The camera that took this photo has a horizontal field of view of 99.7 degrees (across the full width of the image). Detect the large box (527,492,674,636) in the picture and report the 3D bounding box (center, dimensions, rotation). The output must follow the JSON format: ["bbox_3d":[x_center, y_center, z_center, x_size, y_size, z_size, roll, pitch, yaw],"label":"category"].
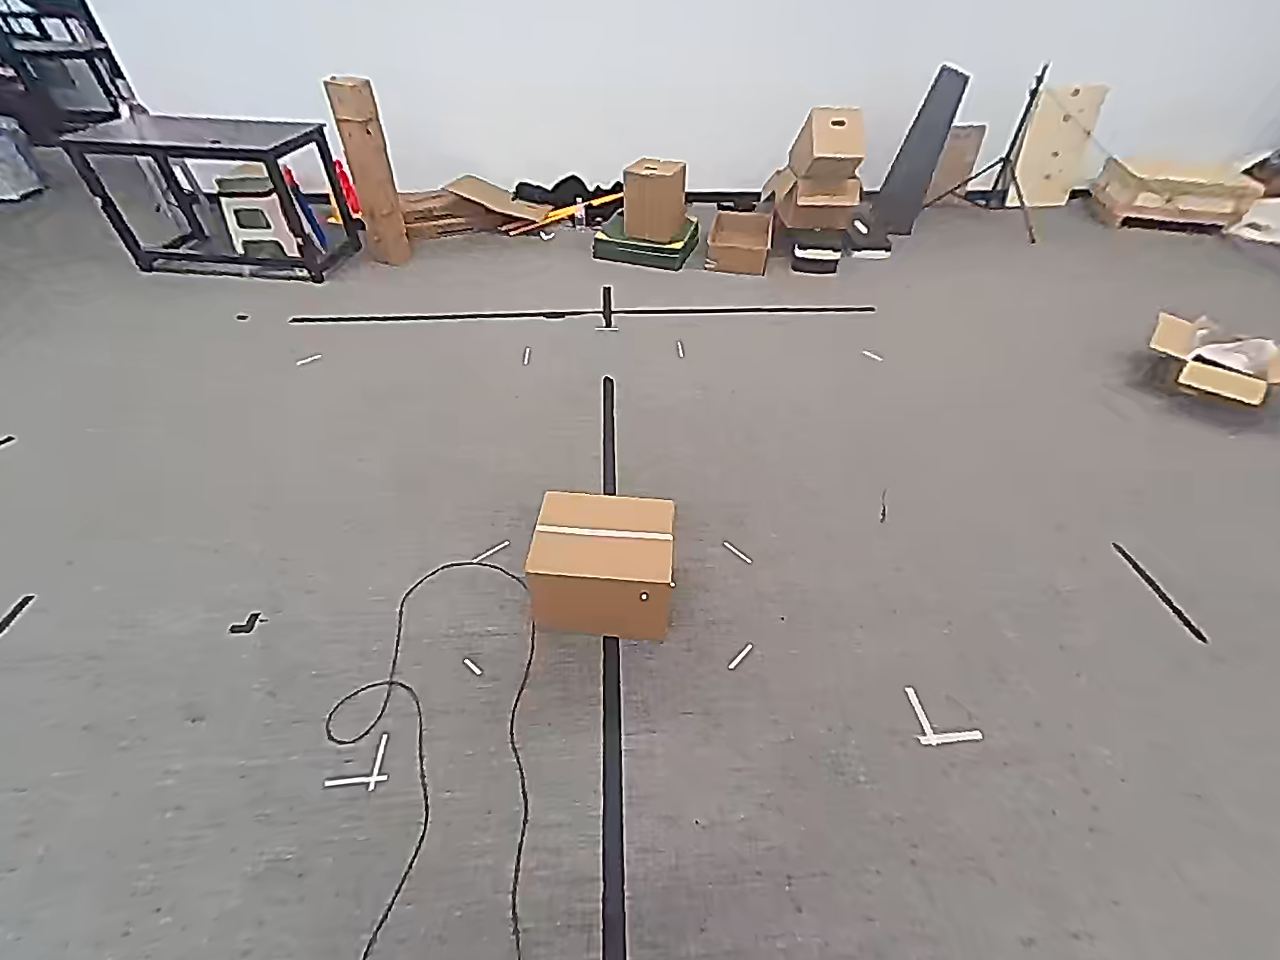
[{"bbox_3d":[-0.106,0.261,1.671,0.408,0.320,0.320,4,44,1],"label":"large box"}]
